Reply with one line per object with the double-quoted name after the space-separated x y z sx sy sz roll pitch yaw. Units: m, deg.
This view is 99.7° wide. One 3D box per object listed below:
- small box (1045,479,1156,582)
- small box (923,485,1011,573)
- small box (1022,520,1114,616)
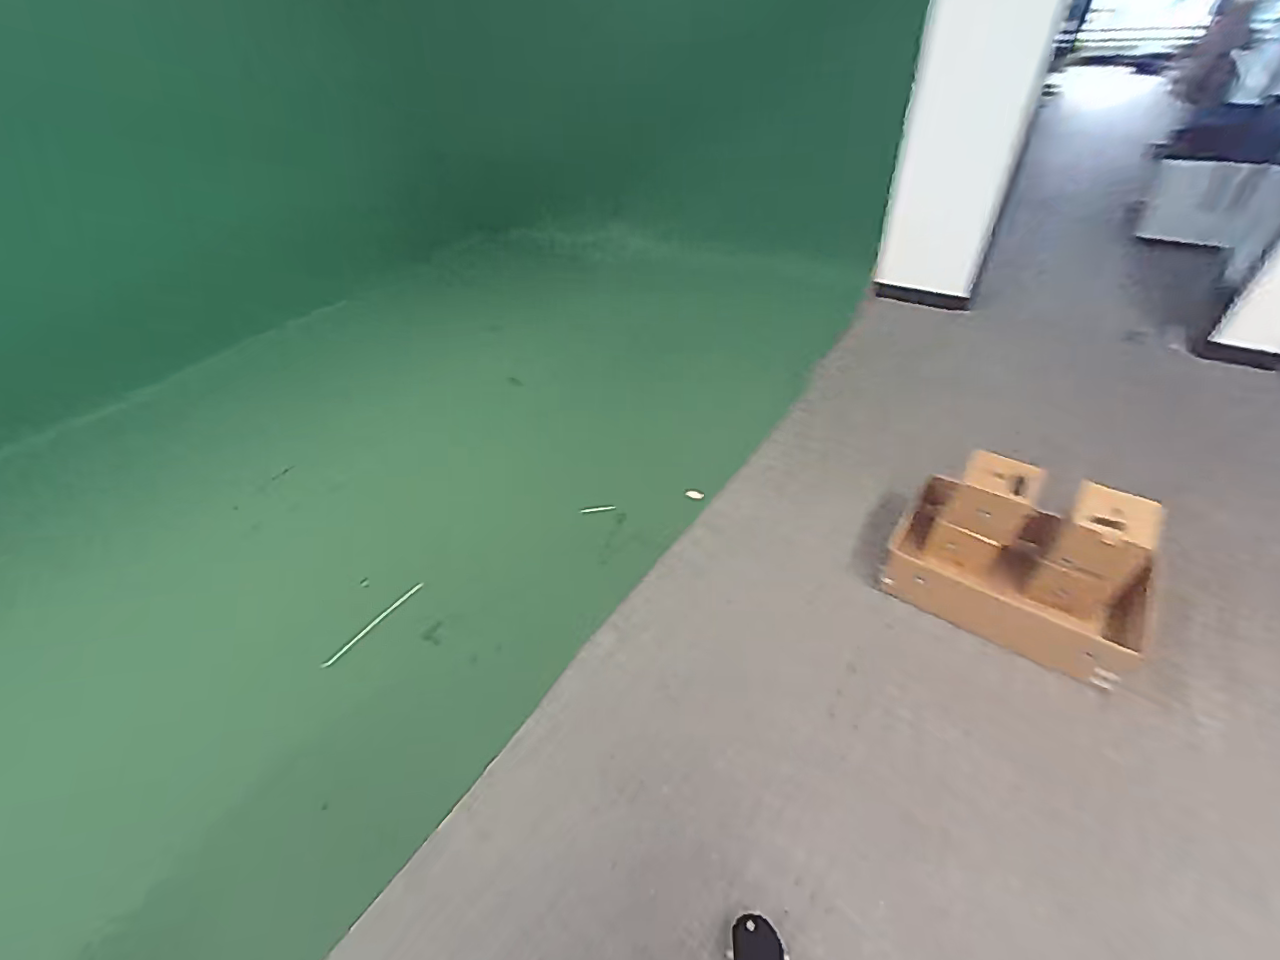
1.204 0.135 1.422 0.168 0.176 0.179 25 54 29 "small box"
1.002 0.153 1.670 0.168 0.176 0.179 28 55 30 "small box"
1.220 0.252 1.537 0.168 0.176 0.179 24 53 29 "small box"
